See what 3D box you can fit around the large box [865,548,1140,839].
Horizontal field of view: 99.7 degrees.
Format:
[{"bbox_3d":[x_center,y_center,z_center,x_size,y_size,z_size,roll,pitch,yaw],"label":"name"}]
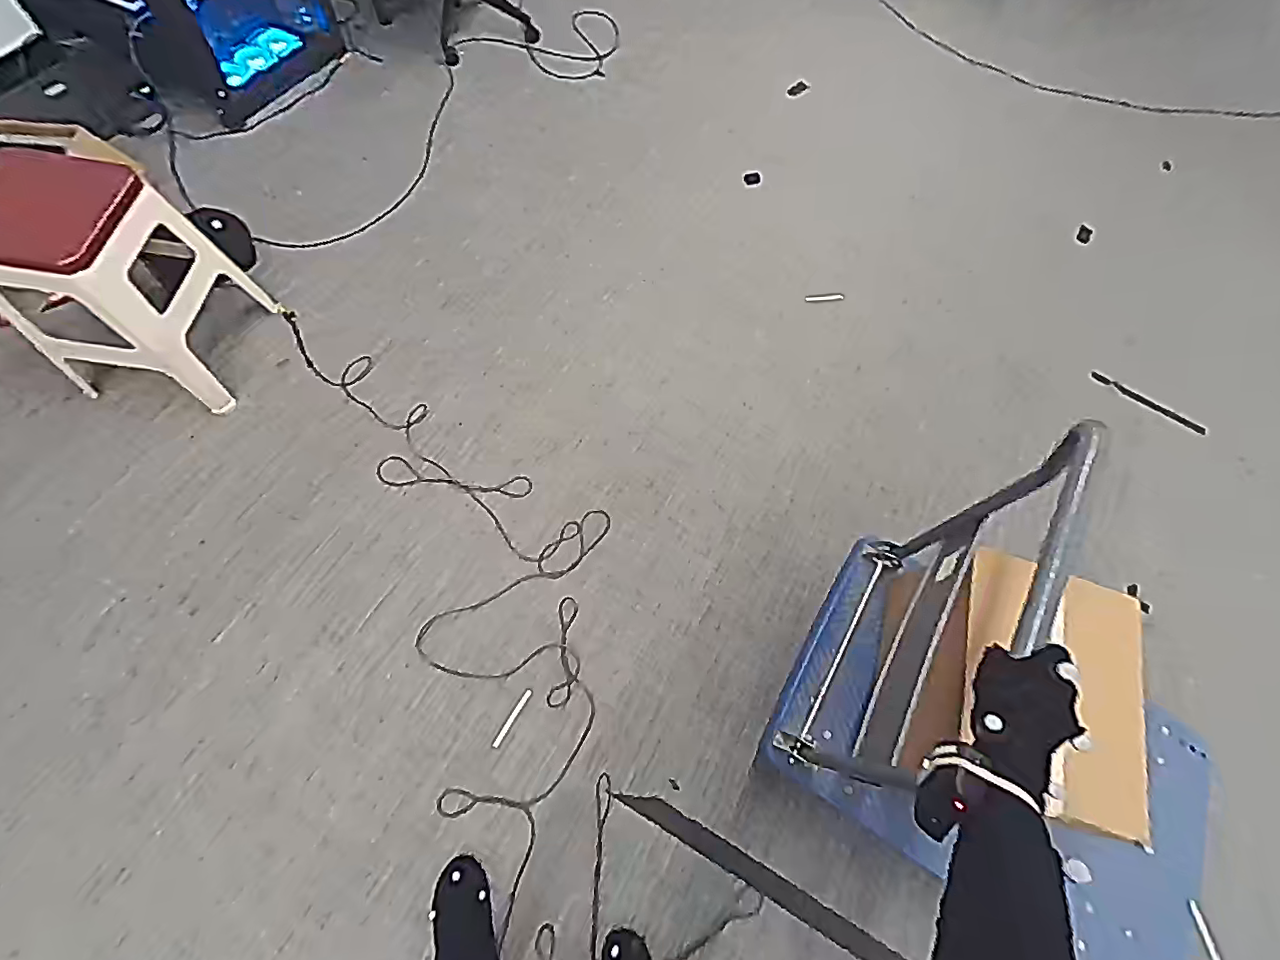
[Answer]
[{"bbox_3d":[0.678,0.395,1.058,0.320,0.320,0.408,18,68,2],"label":"large box"}]
